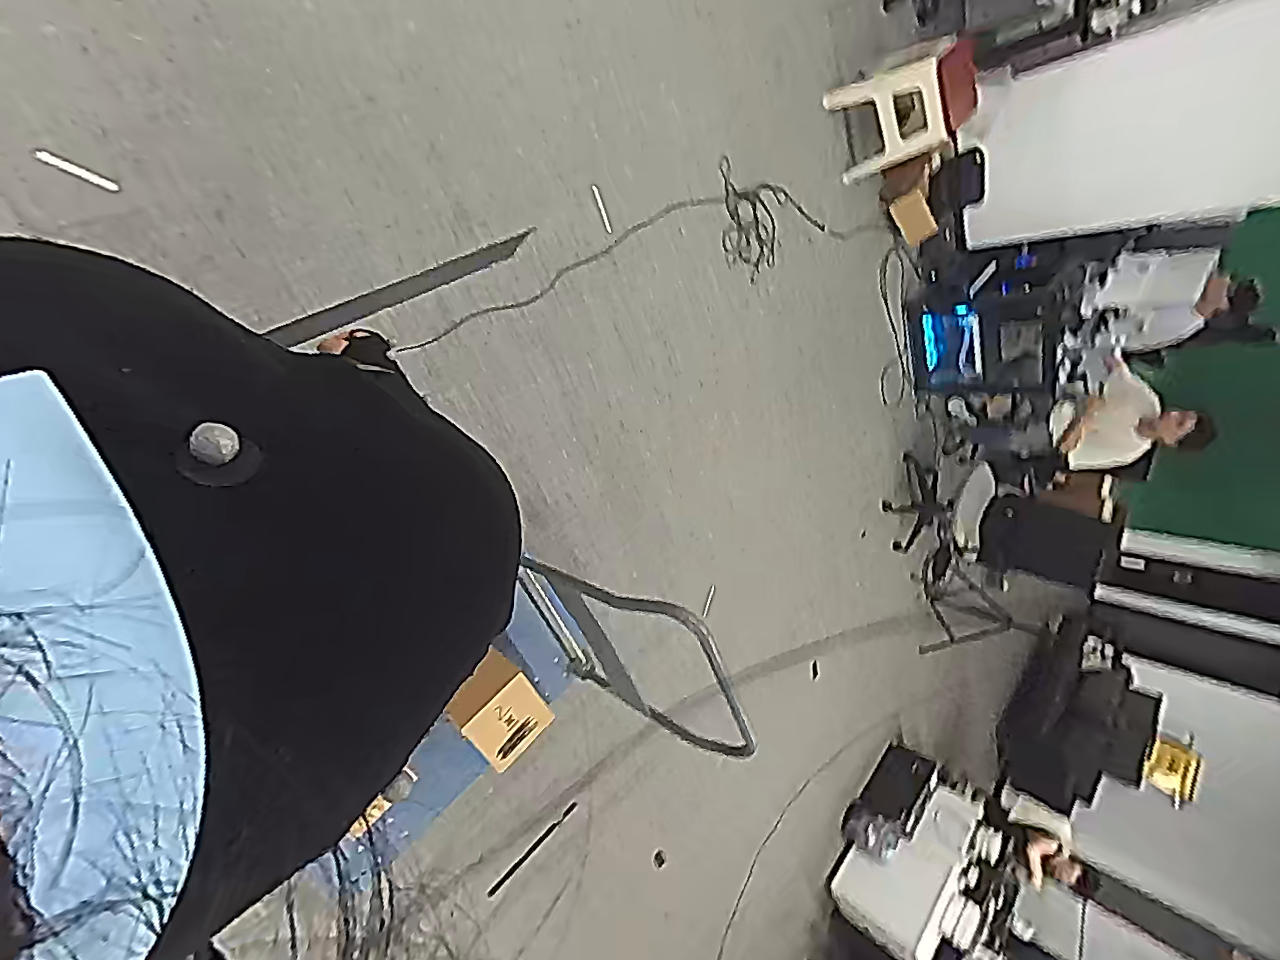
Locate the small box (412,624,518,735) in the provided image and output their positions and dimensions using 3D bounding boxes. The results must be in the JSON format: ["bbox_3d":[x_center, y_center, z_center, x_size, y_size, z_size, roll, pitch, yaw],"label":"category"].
[{"bbox_3d":[-0.448,0.500,1.383,0.168,0.176,0.179,-37,120,-31],"label":"small box"}]
